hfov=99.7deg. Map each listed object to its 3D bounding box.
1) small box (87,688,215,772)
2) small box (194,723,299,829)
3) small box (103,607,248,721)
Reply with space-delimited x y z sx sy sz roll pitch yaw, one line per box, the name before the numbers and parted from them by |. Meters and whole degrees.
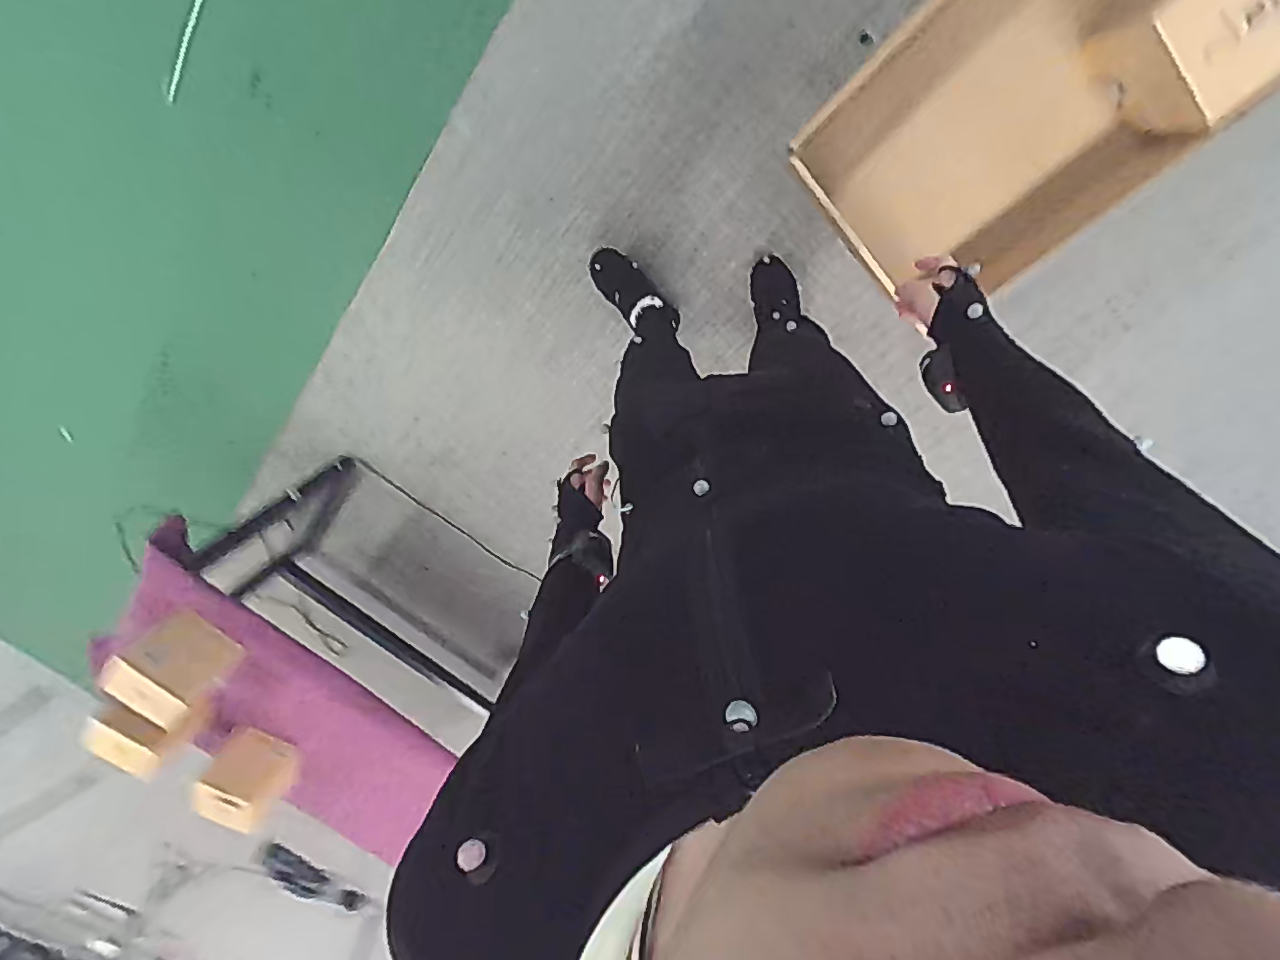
small box | -1.297 0.626 1.439 0.179 0.176 0.168 37 118 -9
small box | -1.071 0.804 1.481 0.168 0.176 0.179 25 120 -1
small box | -1.098 0.428 1.288 0.168 0.176 0.179 -38 105 28
